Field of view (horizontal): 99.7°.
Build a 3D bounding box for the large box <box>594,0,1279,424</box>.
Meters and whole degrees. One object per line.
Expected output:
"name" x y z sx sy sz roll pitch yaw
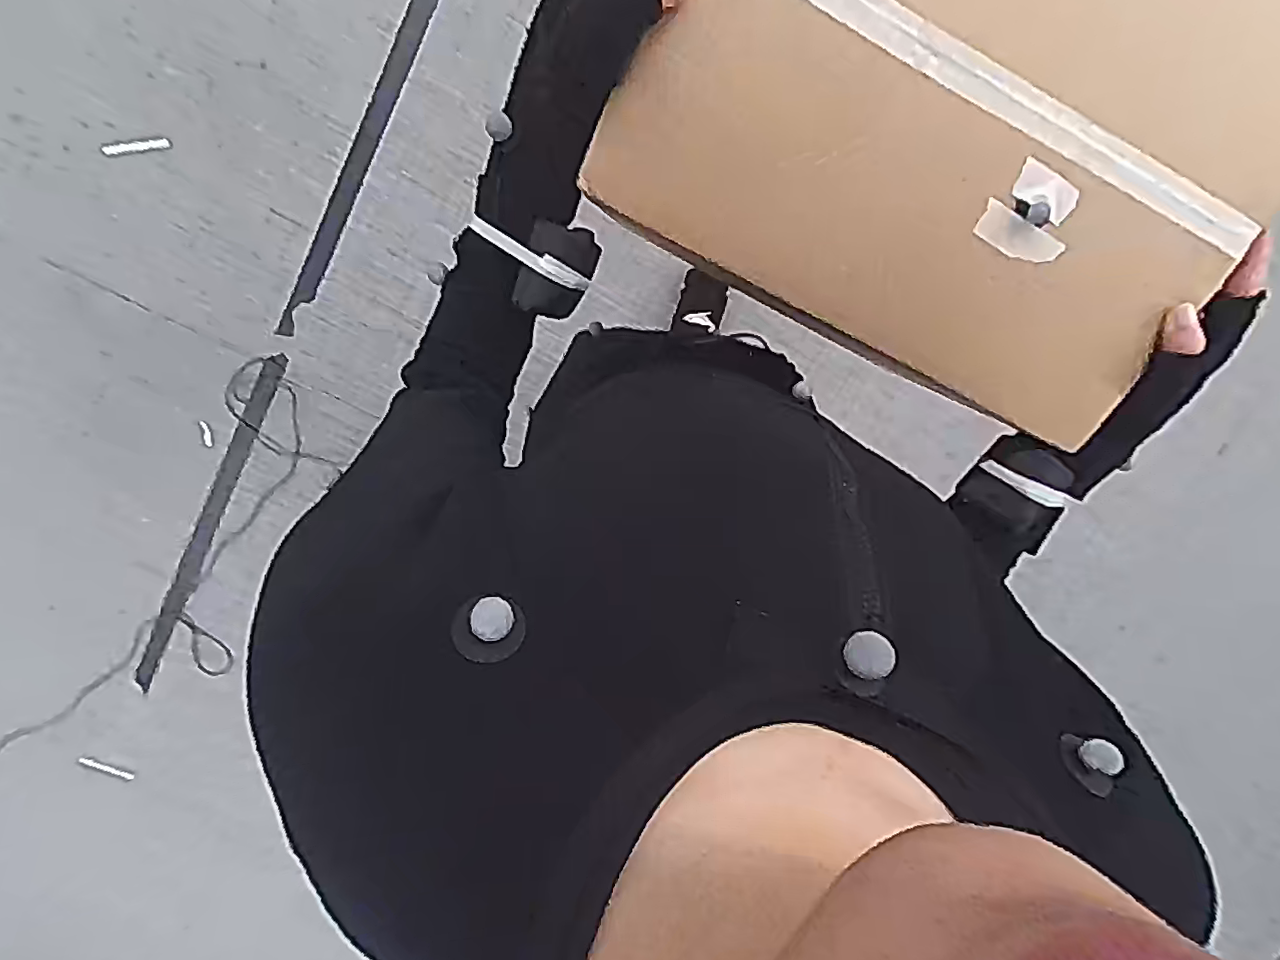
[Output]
"large box" 0.211 -0.301 0.473 0.408 0.320 0.320 25 111 -8
